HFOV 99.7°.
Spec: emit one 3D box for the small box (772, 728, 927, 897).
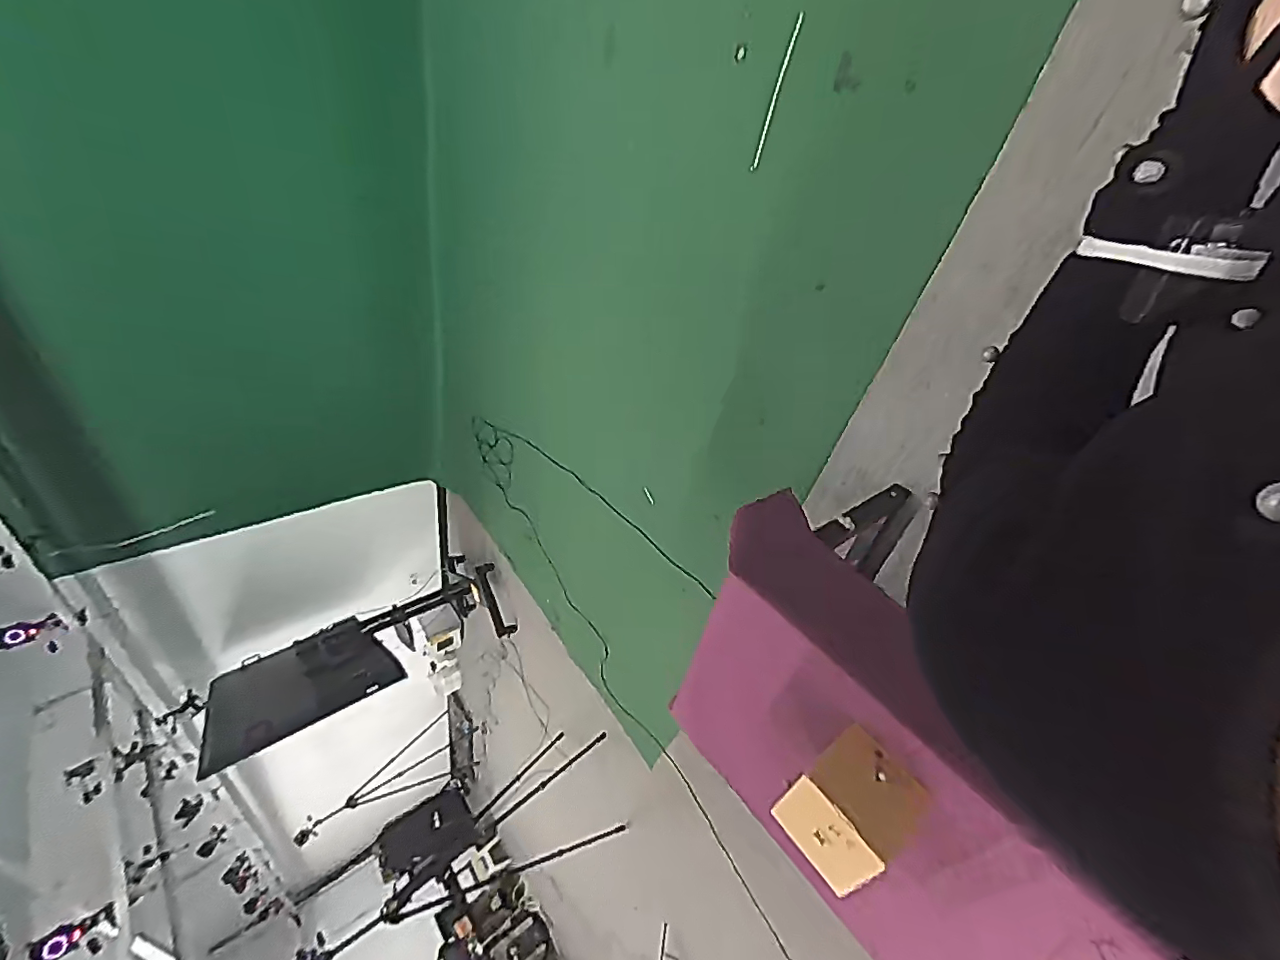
[{"bbox_3d":[0.375,0.590,0.970,0.168,0.176,0.179,44,137,31],"label":"small box"}]
